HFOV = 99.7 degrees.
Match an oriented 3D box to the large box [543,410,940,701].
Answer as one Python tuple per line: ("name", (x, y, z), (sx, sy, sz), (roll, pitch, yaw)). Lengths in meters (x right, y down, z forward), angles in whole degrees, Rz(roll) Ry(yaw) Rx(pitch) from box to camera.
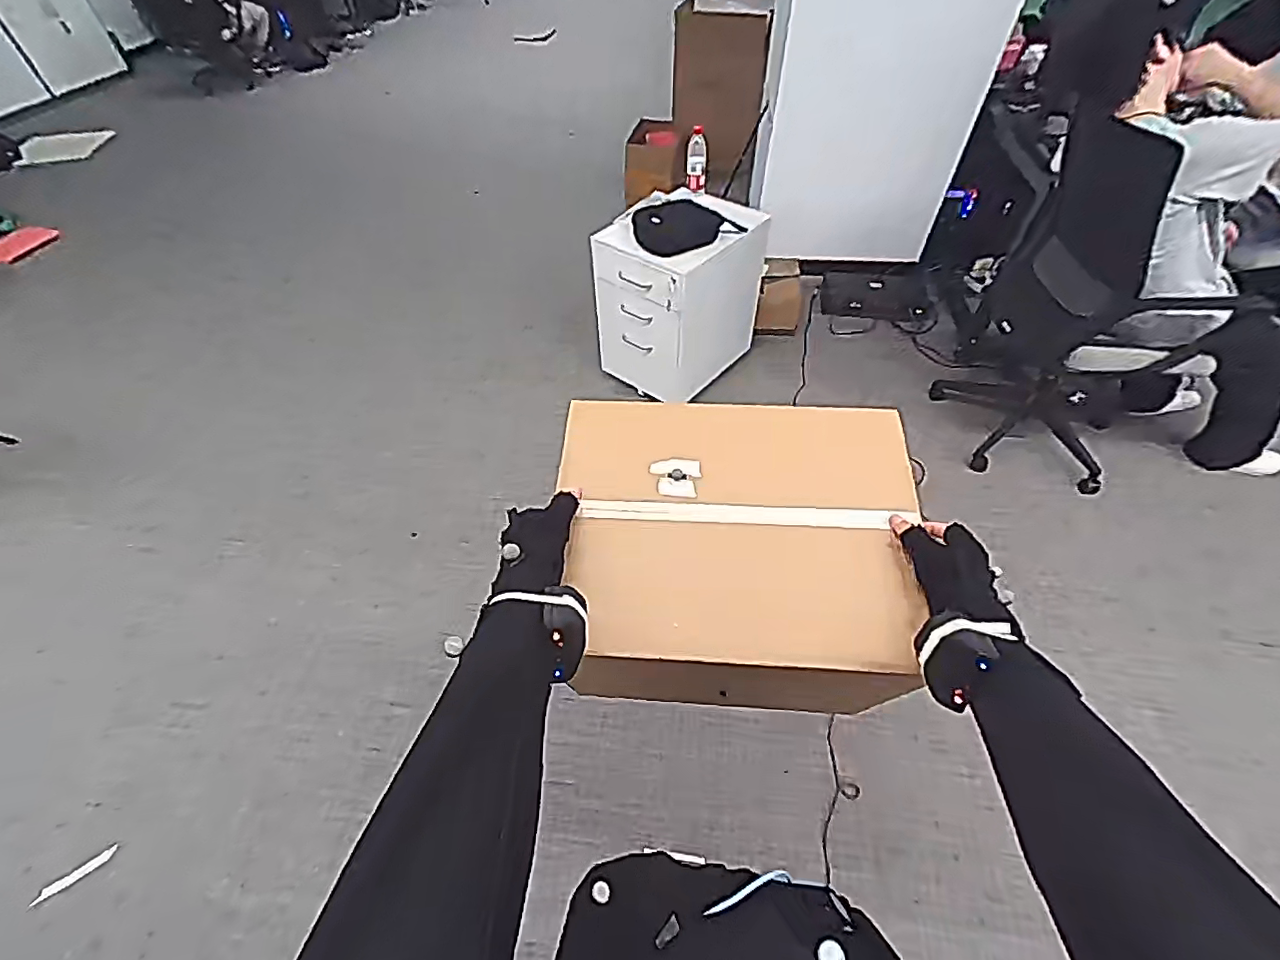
("large box", (0.114, 0.117, 0.742), (0.408, 0.320, 0.320), (2, 60, 4))
